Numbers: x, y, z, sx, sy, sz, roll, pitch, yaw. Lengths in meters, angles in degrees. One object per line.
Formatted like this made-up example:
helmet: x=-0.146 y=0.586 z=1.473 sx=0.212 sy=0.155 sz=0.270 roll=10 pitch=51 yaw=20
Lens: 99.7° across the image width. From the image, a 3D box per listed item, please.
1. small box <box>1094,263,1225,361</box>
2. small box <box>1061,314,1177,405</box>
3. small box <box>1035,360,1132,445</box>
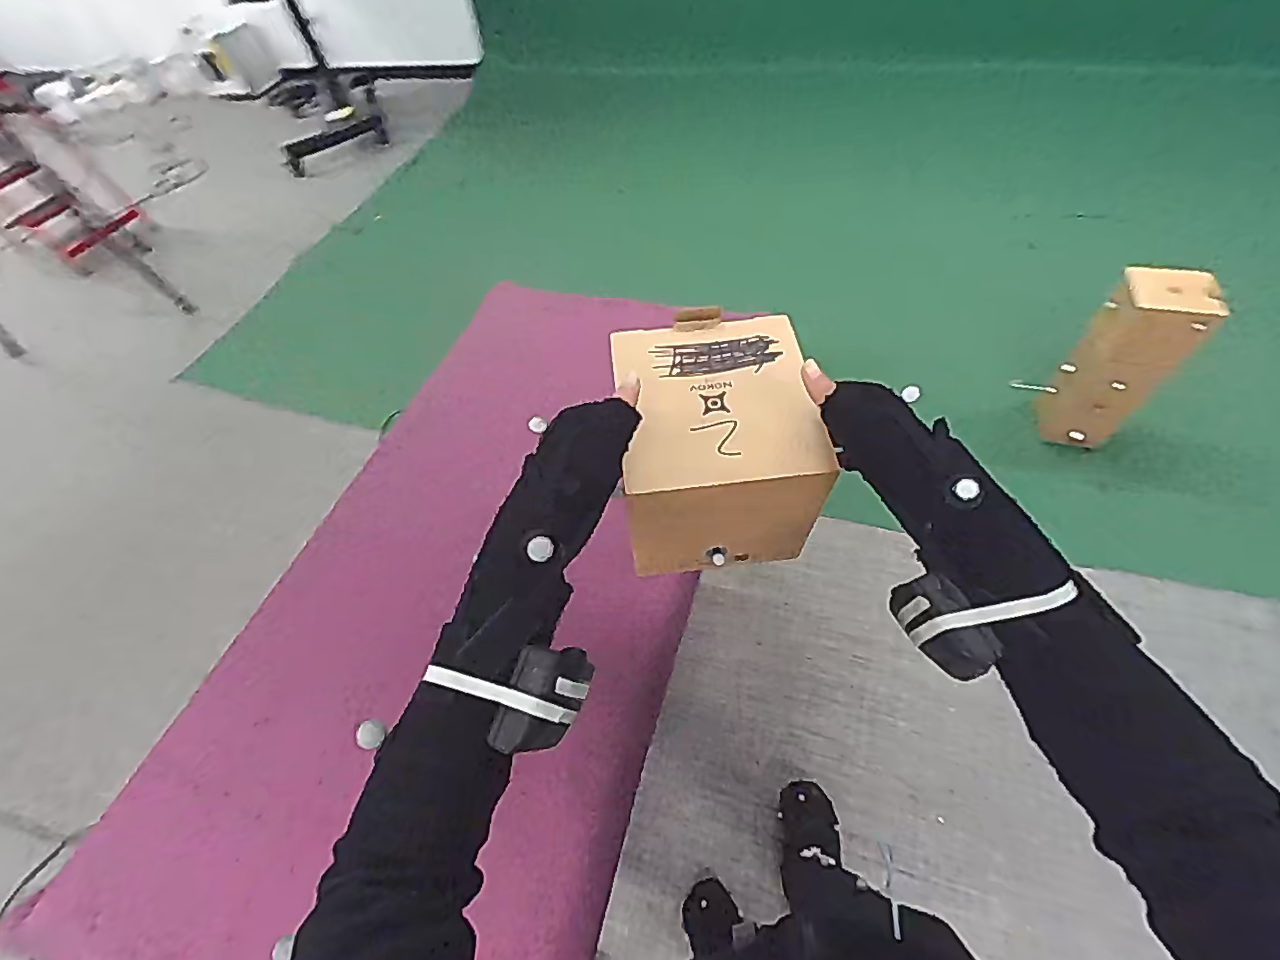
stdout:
small box: x=1.292 y=-0.422 z=1.367 sx=0.179 sy=0.176 sz=0.168 roll=10 pitch=57 yaw=14
small box: x=1.313 y=-0.330 z=1.496 sx=0.179 sy=0.176 sz=0.168 roll=13 pitch=57 yaw=16
small box: x=1.326 y=-0.234 z=1.632 sx=0.168 sy=0.176 sz=0.179 roll=11 pitch=58 yaw=15
